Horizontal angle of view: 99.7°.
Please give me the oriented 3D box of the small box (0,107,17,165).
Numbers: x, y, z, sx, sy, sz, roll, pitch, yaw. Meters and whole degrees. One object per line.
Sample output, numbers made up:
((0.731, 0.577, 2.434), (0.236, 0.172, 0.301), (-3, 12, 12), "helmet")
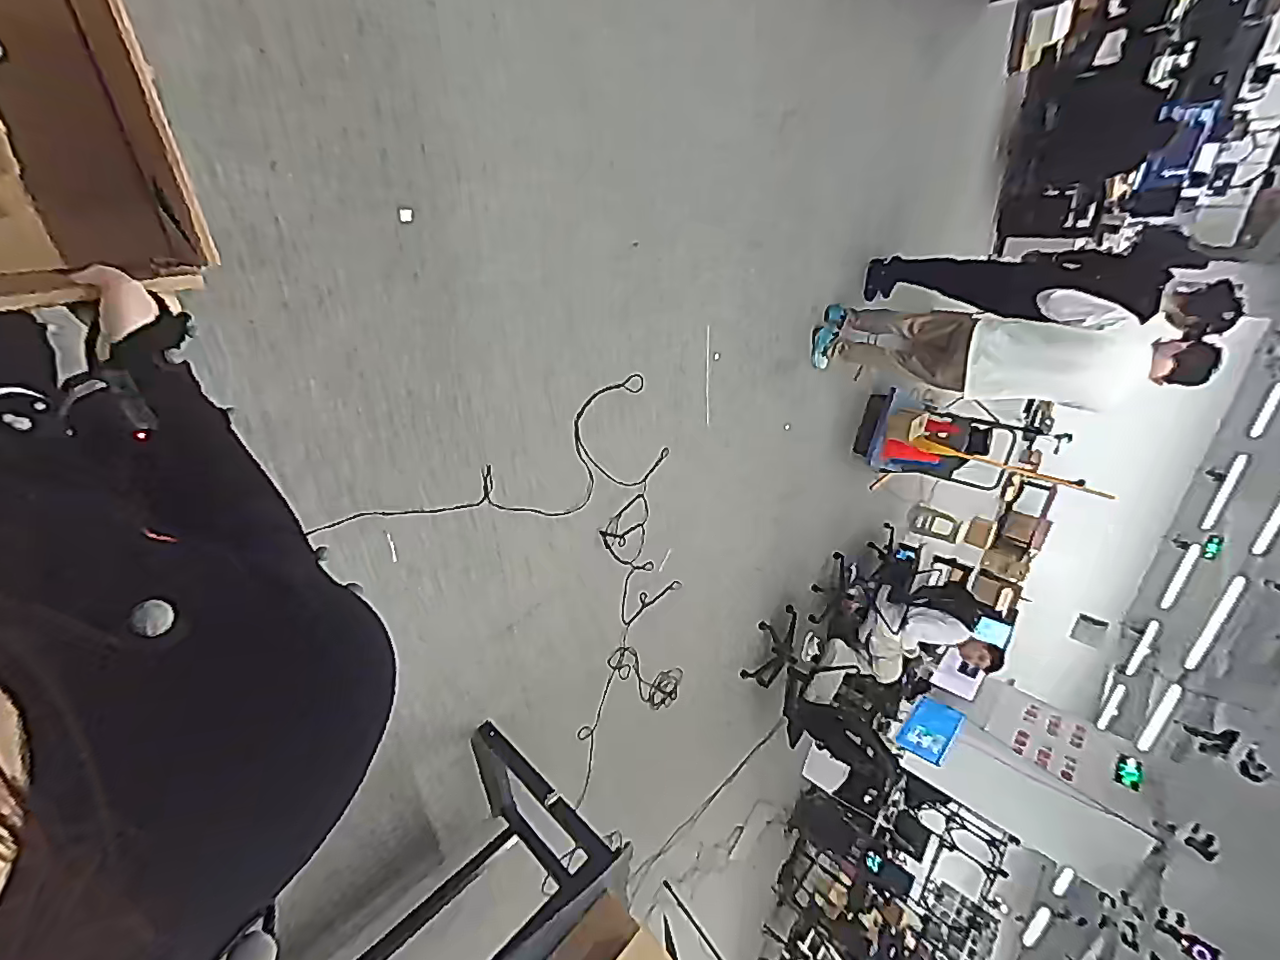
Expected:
((-0.462, -0.249, 0.258), (0.179, 0.176, 0.168), (-28, 124, -39), "small box")
